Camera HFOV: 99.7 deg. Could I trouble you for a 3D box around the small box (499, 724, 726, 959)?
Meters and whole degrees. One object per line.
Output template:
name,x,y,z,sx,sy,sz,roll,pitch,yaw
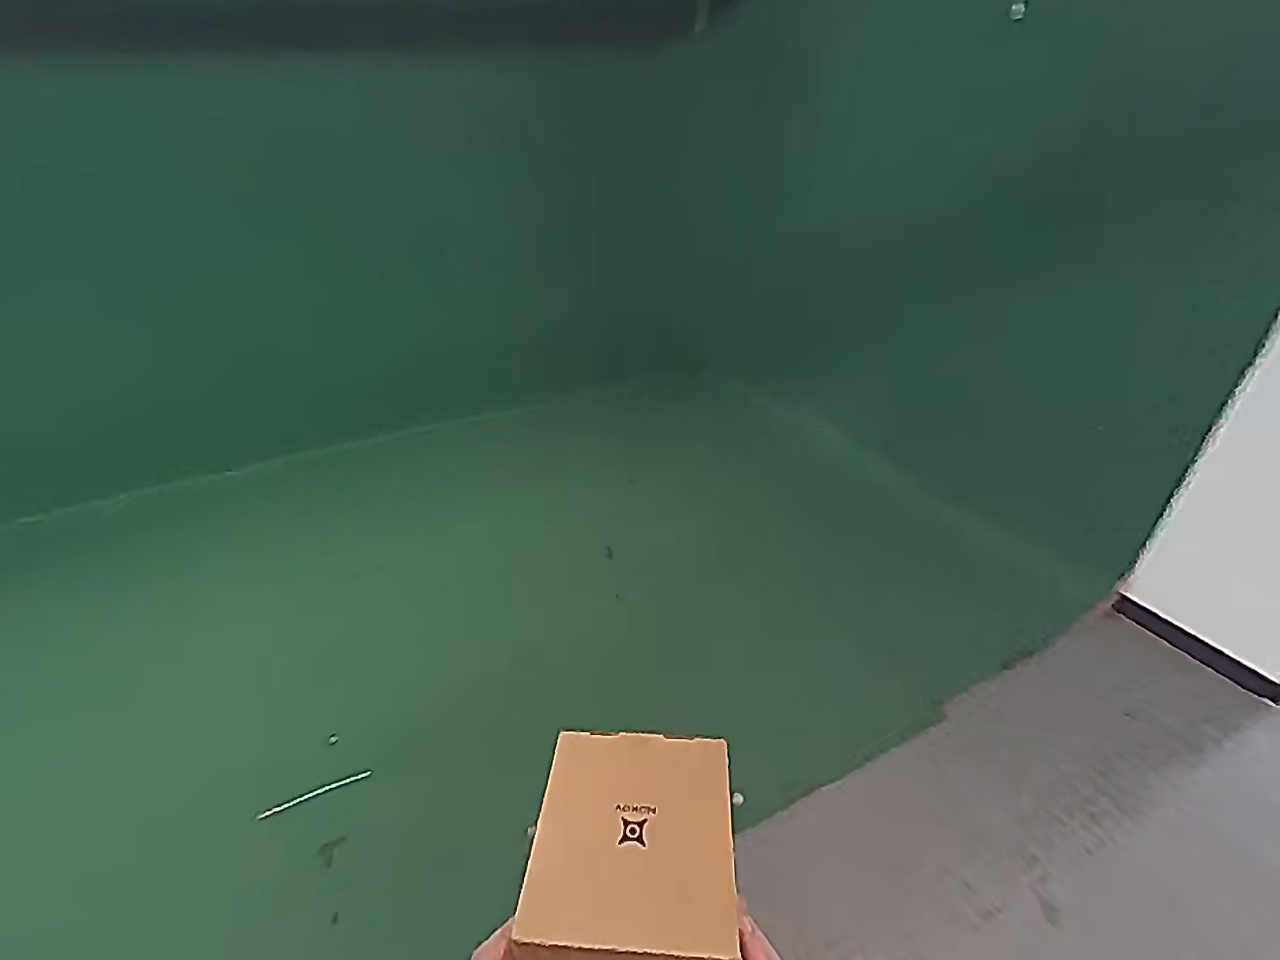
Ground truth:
small box,-0.011,0.352,0.487,0.168,0.176,0.179,1,27,4
